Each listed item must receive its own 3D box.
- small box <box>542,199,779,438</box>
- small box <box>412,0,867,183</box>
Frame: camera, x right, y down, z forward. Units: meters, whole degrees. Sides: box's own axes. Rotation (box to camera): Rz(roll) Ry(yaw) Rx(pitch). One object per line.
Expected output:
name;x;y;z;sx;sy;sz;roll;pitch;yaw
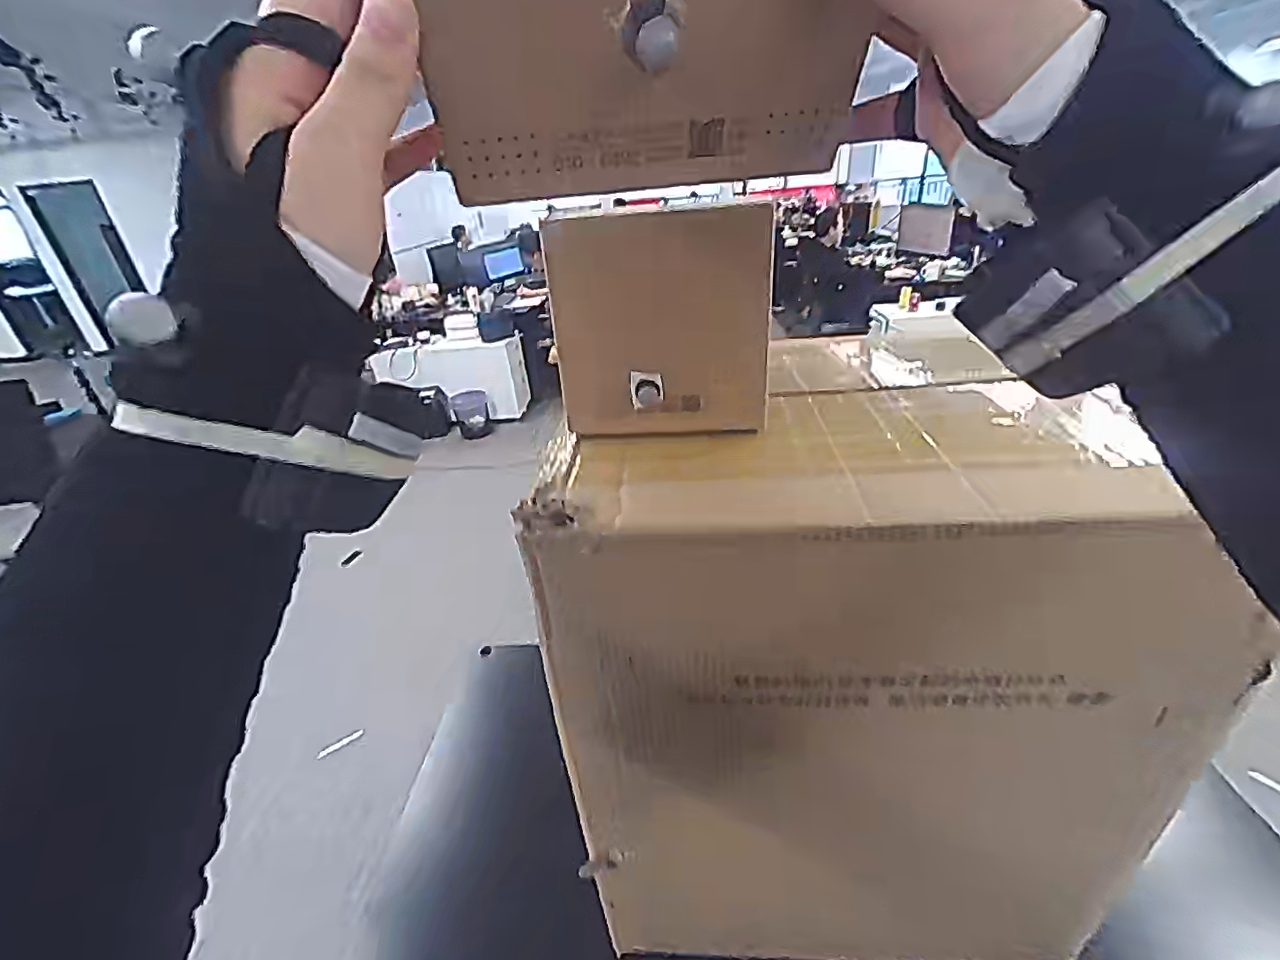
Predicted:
small box;0.022;-0.146;0.477;0.168;0.176;0.179;-3;28;5
small box;-0.010;-0.247;0.213;0.168;0.176;0.179;-9;56;-5
